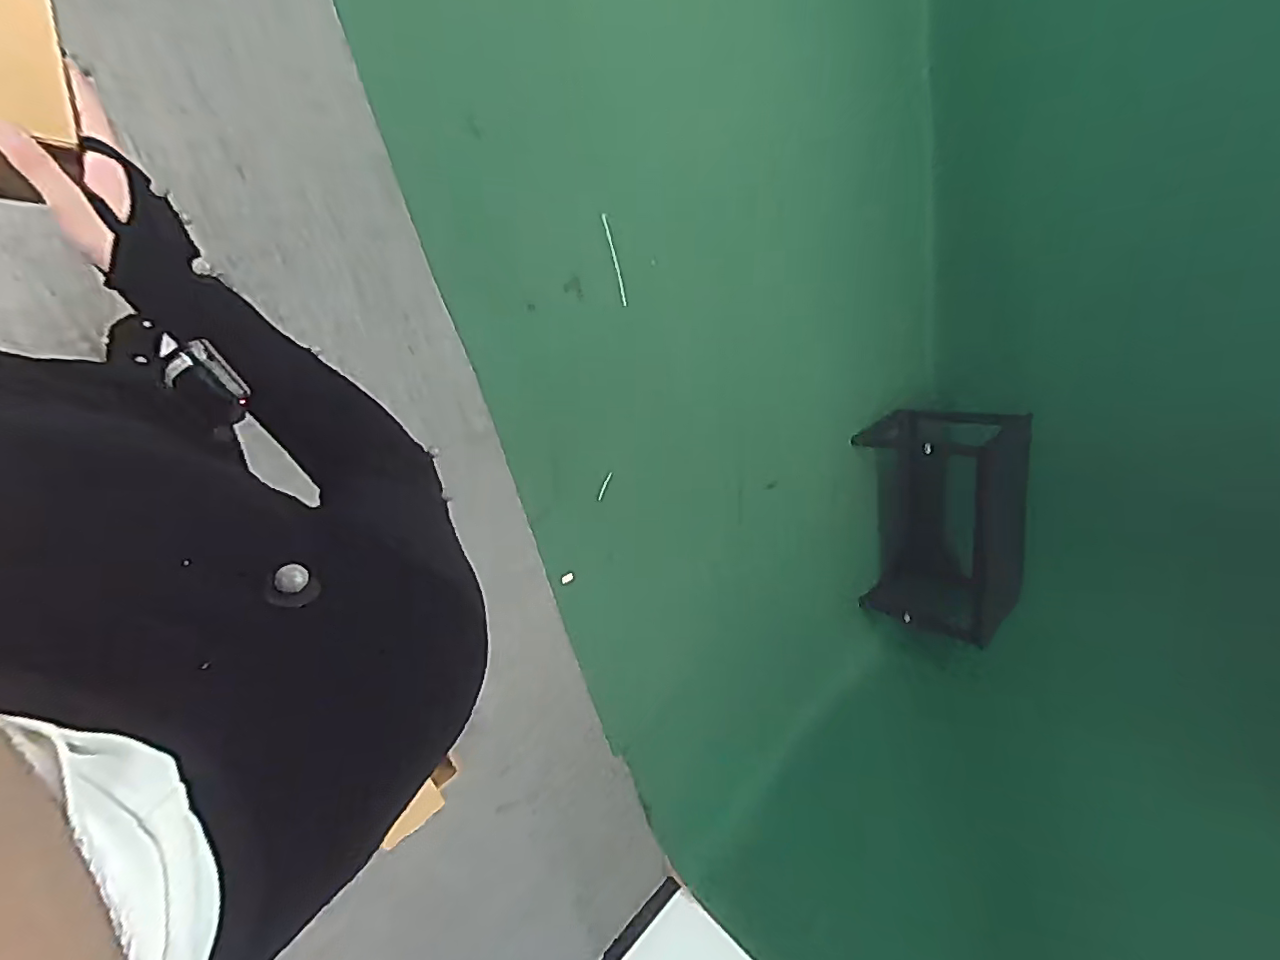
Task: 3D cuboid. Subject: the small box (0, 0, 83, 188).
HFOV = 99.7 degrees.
[{"bbox_3d":[-0.548,-0.346,0.401,0.168,0.176,0.179,-12,105,-44],"label":"small box"}]
